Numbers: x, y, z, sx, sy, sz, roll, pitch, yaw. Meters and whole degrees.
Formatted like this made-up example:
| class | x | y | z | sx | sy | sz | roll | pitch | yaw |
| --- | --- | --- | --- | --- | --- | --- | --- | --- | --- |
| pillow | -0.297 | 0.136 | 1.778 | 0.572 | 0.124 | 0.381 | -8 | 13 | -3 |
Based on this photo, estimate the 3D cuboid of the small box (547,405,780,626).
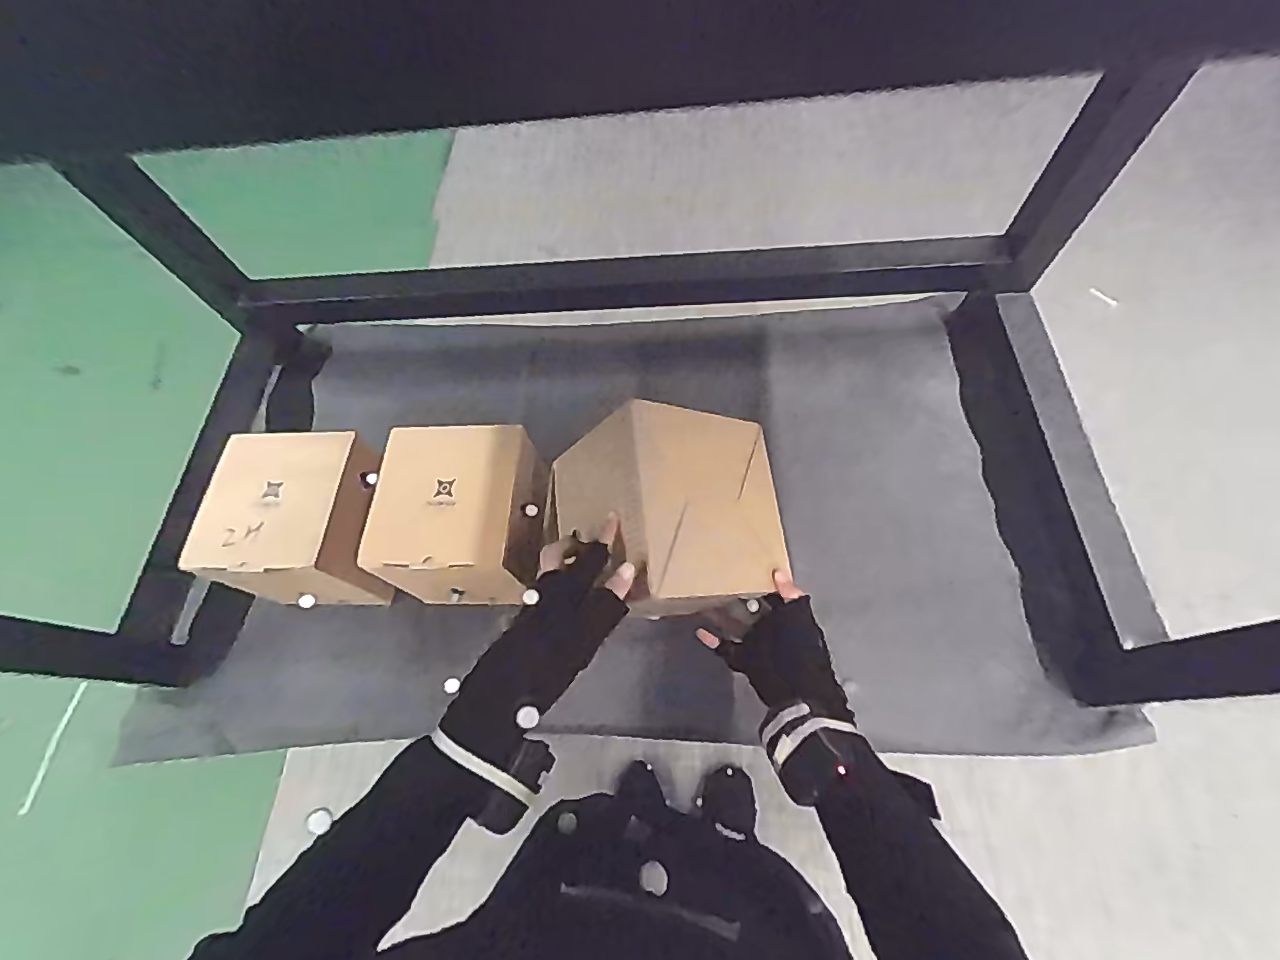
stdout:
| class | x | y | z | sx | sy | sz | roll | pitch | yaw |
| --- | --- | --- | --- | --- | --- | --- | --- | --- | --- |
| small box | 0.020 | 0.046 | 0.556 | 0.168 | 0.176 | 0.179 | 7 | 66 | -36 |
